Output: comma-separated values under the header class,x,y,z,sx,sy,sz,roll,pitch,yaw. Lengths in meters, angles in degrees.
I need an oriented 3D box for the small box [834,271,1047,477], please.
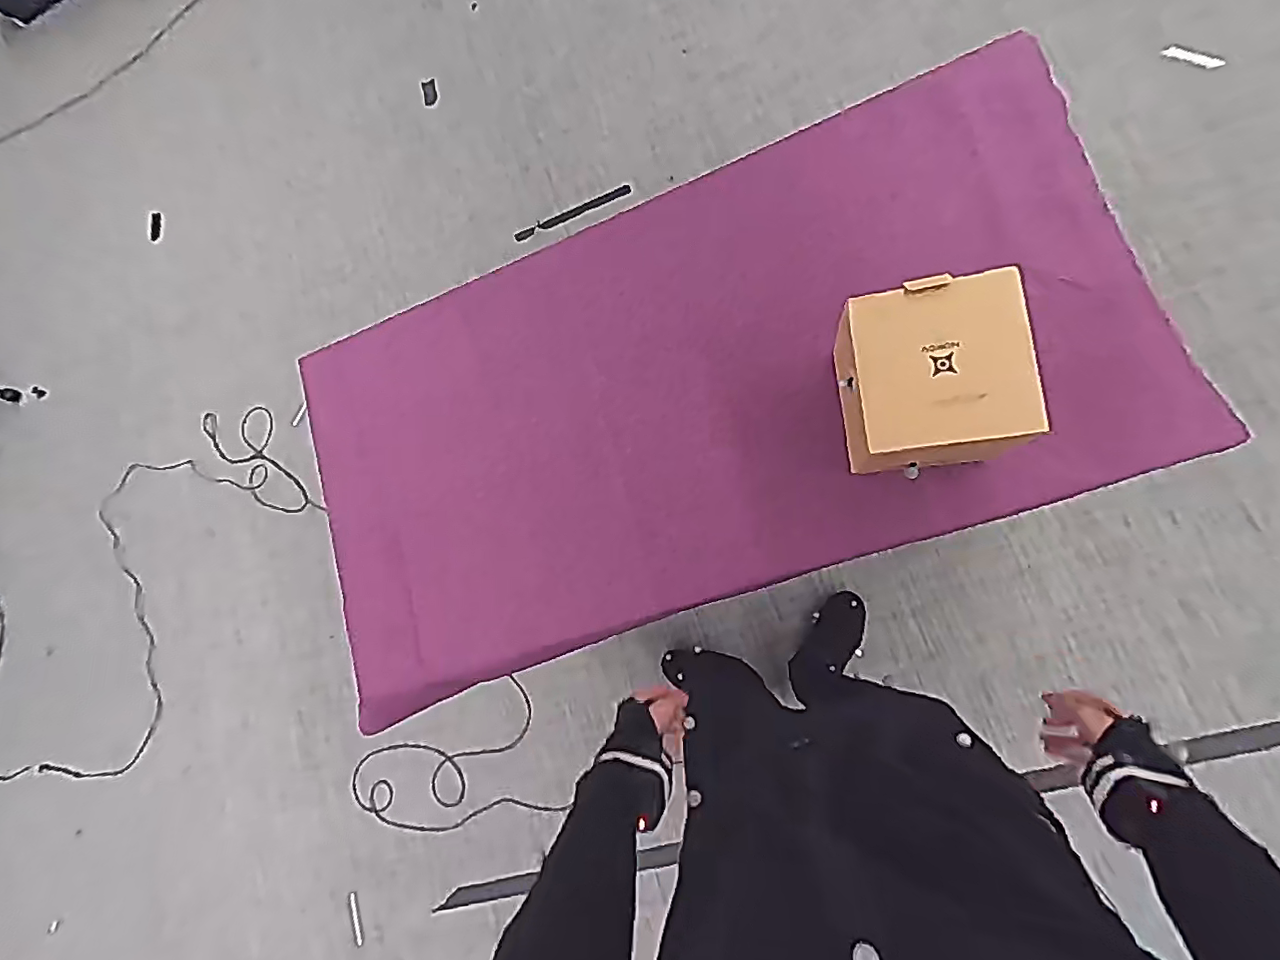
class,x,y,z,sx,sy,sz,roll,pitch,yaw
small box,0.325,-0.107,0.624,0.168,0.176,0.179,-7,81,15
